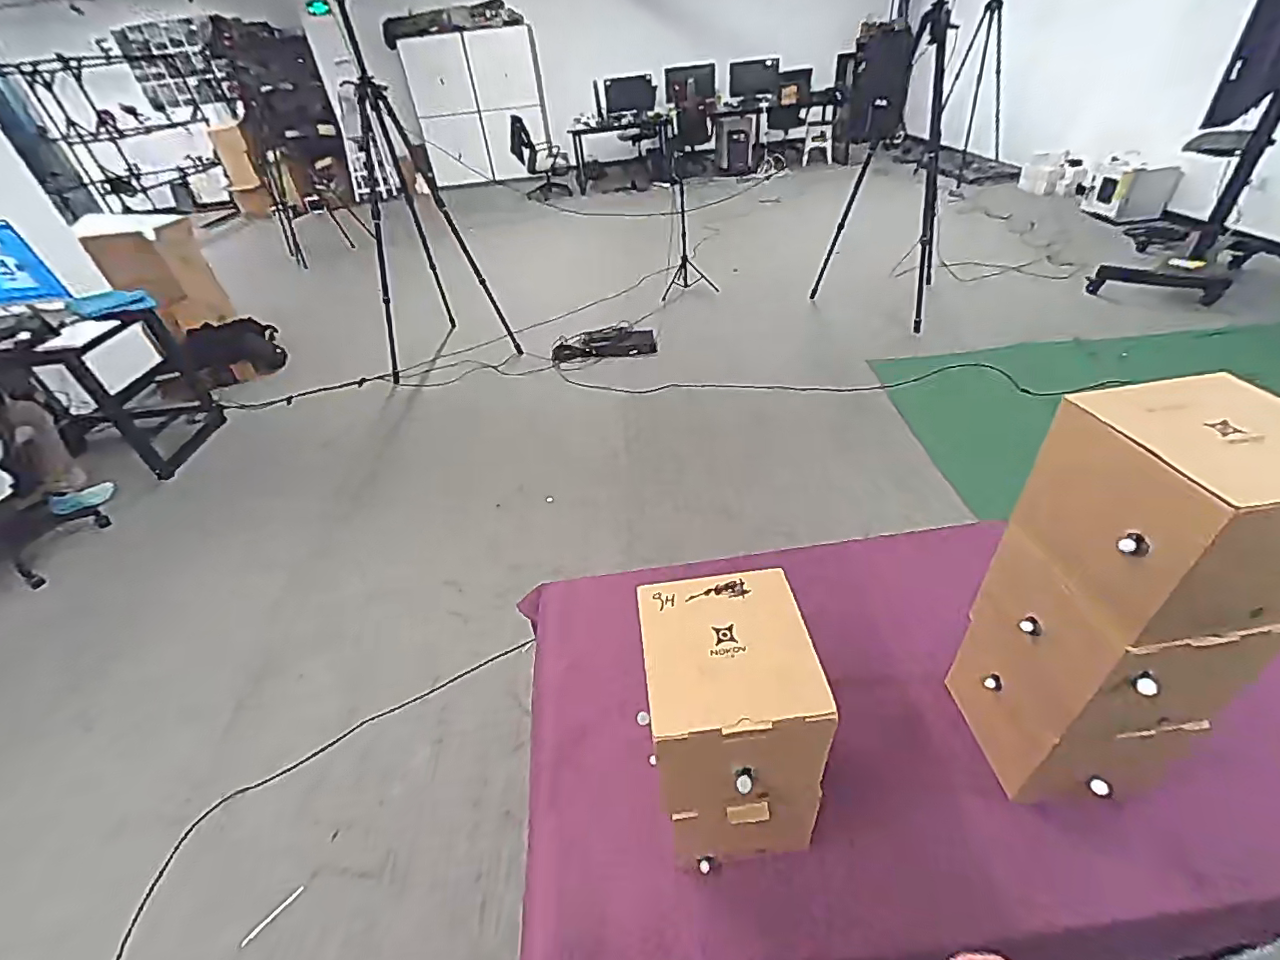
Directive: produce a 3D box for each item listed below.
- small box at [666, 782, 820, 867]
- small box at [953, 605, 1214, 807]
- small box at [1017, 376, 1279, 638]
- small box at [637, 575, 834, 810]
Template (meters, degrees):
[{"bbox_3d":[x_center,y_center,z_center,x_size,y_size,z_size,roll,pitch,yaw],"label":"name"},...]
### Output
[{"bbox_3d":[0.112,0.359,0.681,0.168,0.176,0.179,-9,37,-2],"label":"small box"},{"bbox_3d":[0.540,0.288,0.696,0.168,0.176,0.179,-7,39,1],"label":"small box"},{"bbox_3d":[0.502,0.028,0.501,0.168,0.176,0.179,-8,37,-1],"label":"small box"},{"bbox_3d":[0.091,0.231,0.580,0.168,0.176,0.179,-7,39,0],"label":"small box"}]
